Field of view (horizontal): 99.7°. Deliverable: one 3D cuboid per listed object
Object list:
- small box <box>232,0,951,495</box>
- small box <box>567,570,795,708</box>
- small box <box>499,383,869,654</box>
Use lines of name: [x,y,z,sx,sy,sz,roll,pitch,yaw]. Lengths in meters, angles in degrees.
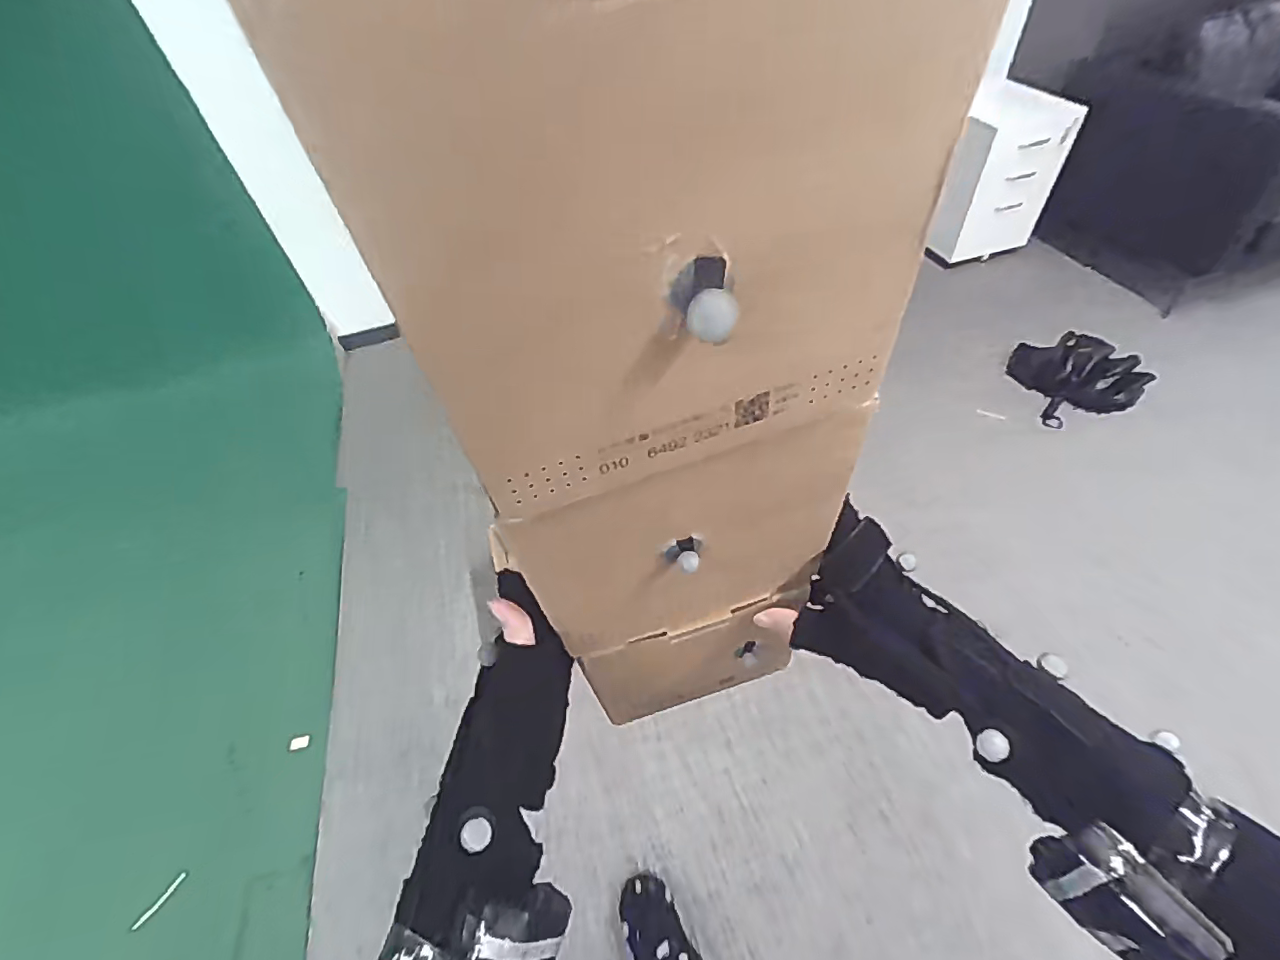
small box: [-0.016,-0.114,0.218,0.168,0.176,0.179,-19,53,-7]
small box: [0.017,0.082,0.478,0.168,0.176,0.179,-16,51,-6]
small box: [0.005,-0.016,0.347,0.179,0.176,0.168,-19,53,-9]
